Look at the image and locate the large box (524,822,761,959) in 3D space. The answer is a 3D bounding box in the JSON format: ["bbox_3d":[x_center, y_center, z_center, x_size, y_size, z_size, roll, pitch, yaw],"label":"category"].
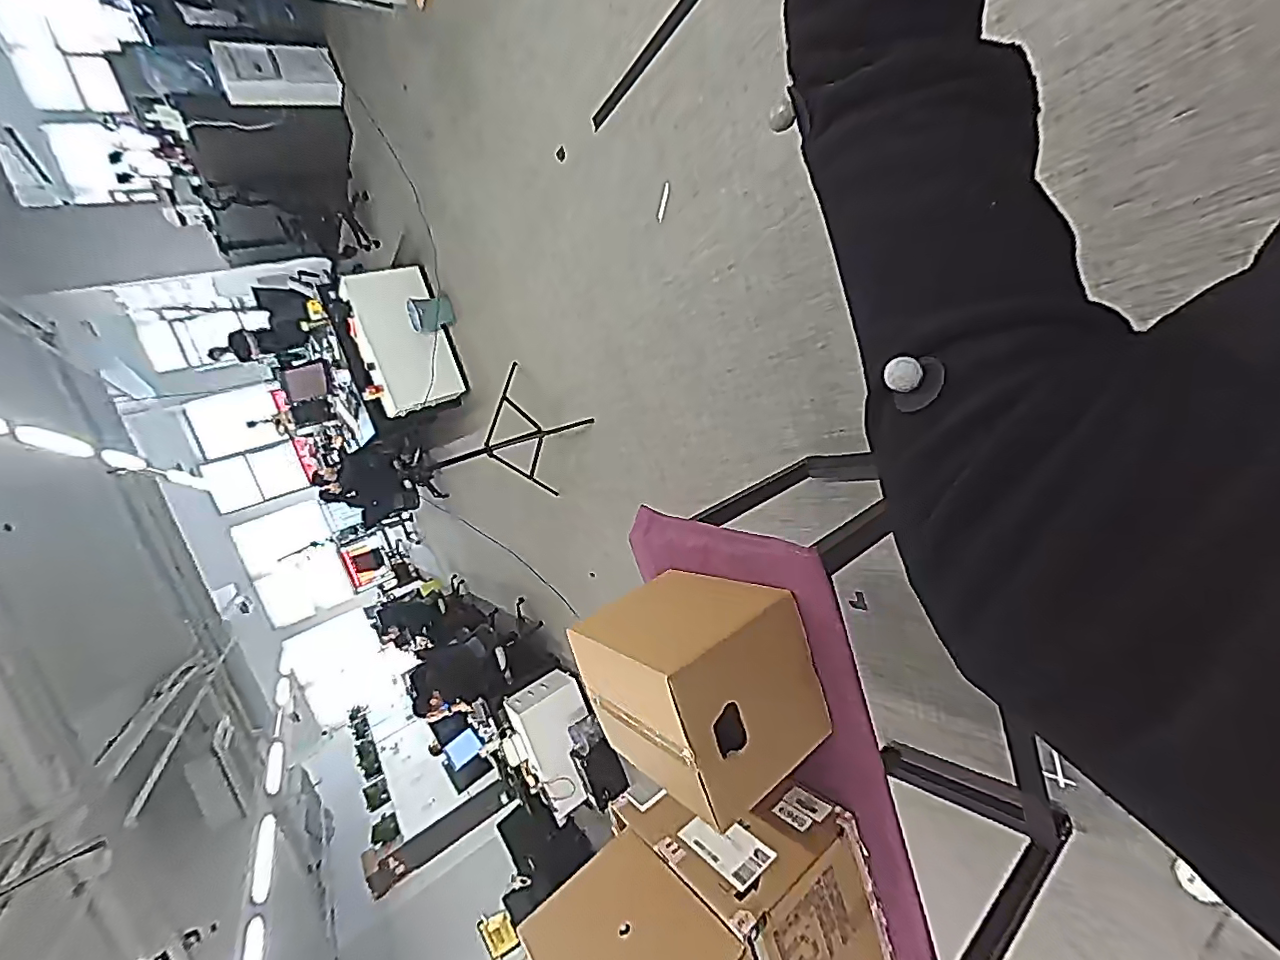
[{"bbox_3d":[0.025,0.998,1.080,0.408,0.320,0.320,-1,113,58],"label":"large box"}]
